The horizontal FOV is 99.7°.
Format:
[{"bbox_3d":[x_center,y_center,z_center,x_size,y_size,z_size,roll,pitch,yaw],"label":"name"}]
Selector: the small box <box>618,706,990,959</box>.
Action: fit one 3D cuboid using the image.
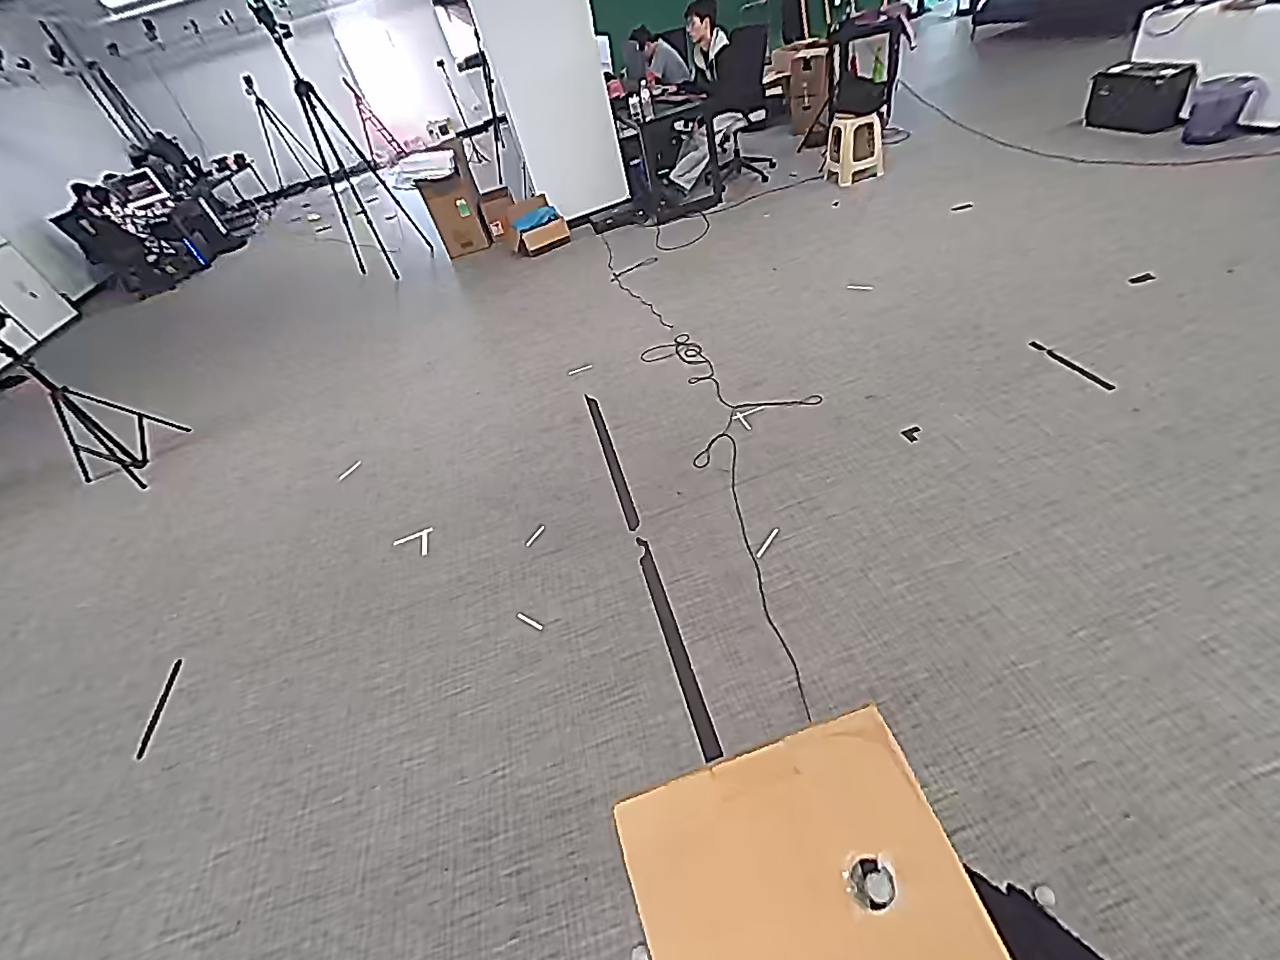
[{"bbox_3d":[0.096,0.271,0.357,0.168,0.179,0.176,-19,61,-5],"label":"small box"}]
